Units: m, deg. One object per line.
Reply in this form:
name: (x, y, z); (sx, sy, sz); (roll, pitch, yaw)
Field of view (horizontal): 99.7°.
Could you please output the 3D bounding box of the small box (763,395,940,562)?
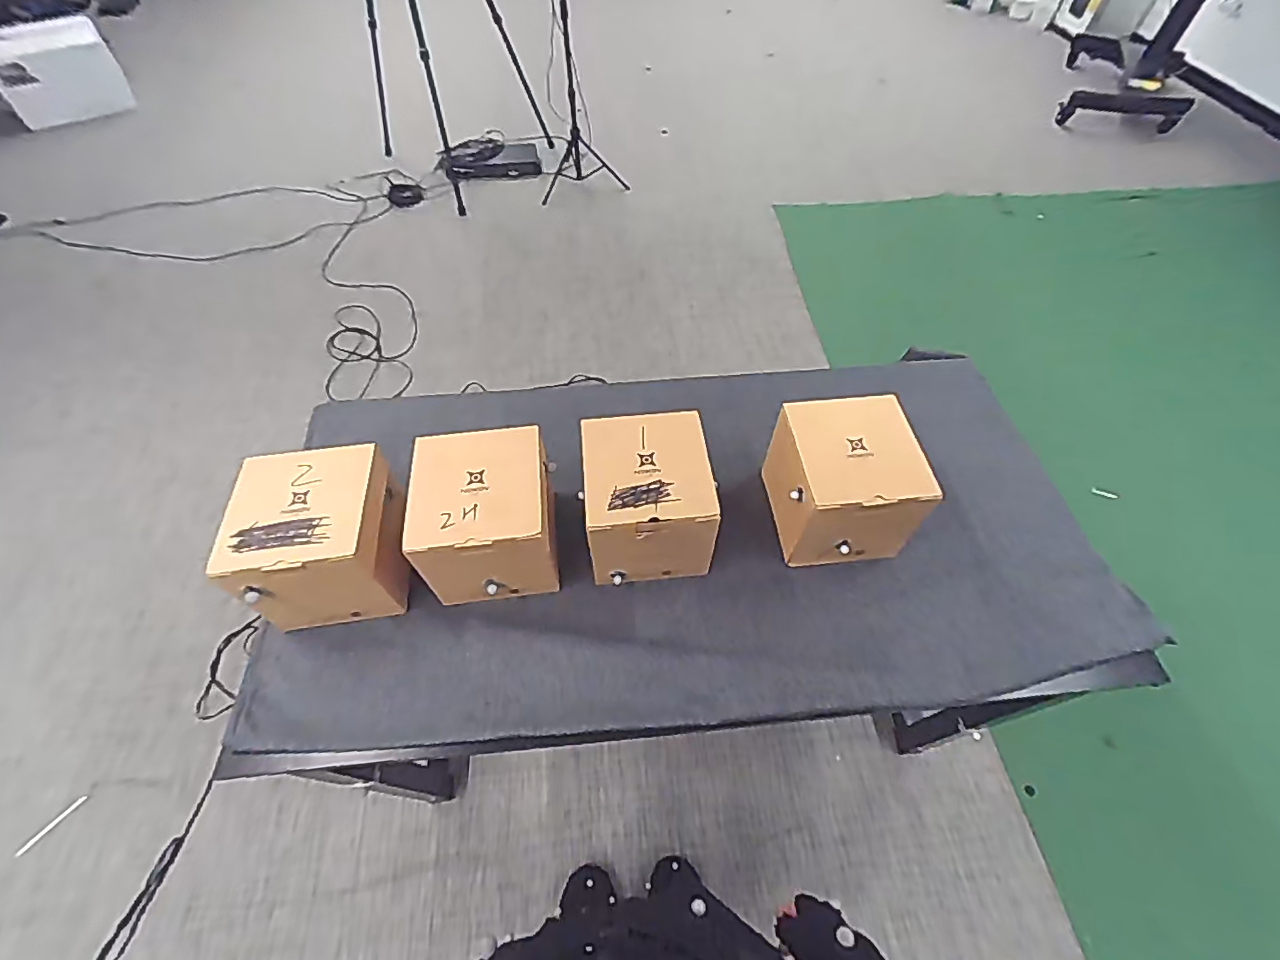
small box: (0.287, 0.000, 0.785); (0.168, 0.176, 0.179); (-5, 56, -3)
